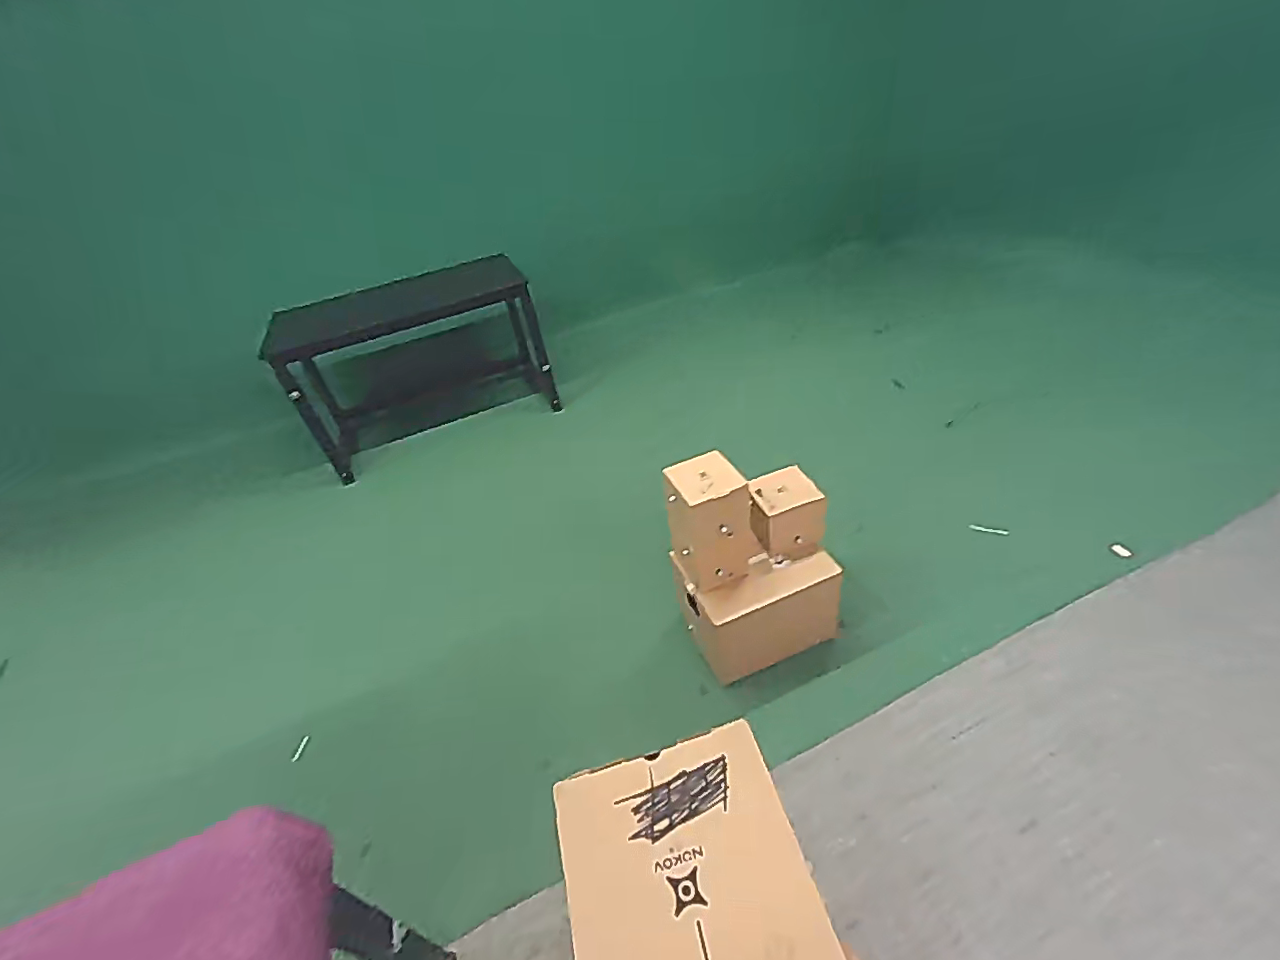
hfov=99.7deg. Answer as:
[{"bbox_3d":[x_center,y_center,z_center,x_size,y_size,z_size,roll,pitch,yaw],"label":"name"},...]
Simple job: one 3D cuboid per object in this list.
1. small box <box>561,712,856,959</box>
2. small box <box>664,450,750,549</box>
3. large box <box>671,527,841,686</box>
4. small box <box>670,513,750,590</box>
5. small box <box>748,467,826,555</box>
[{"bbox_3d":[0.046,0.319,0.420,0.168,0.176,0.179,-17,43,-4],"label":"small box"},{"bbox_3d":[0.177,0.053,1.439,0.168,0.176,0.179,-20,39,-12],"label":"small box"},{"bbox_3d":[0.351,0.359,1.673,0.408,0.320,0.320,-19,39,-12],"label":"large box"},{"bbox_3d":[0.199,0.180,1.542,0.168,0.176,0.179,-19,39,-12],"label":"small box"},{"bbox_3d":[0.425,0.091,1.593,0.179,0.176,0.168,-17,38,-7],"label":"small box"}]
